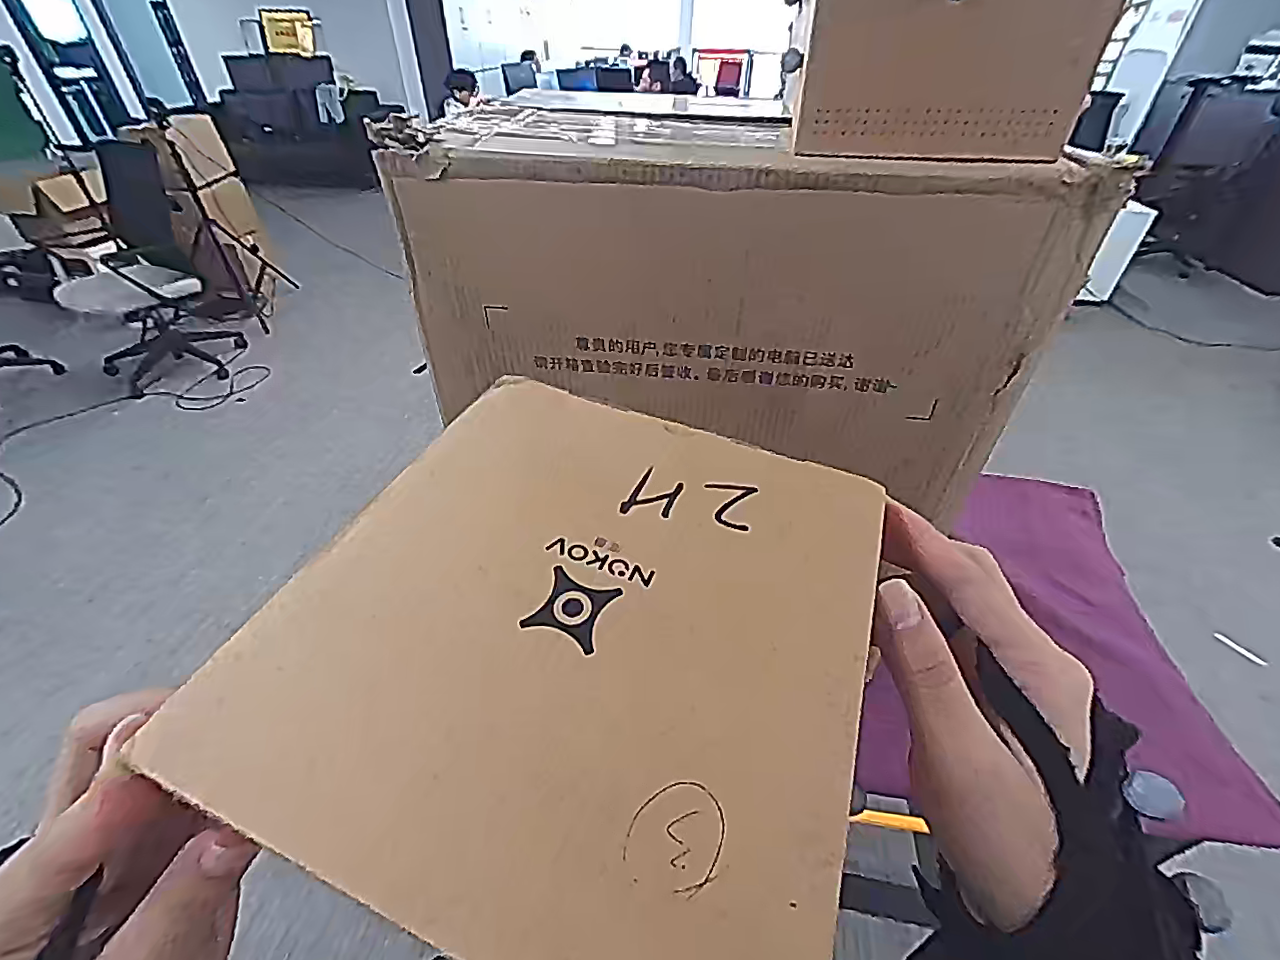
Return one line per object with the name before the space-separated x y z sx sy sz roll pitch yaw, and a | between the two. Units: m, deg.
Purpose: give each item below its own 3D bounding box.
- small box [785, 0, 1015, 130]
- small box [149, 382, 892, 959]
small box | 0.239 -0.440 0.516 0.179 0.176 0.168 5 39 6
small box | -0.017 0.093 0.224 0.168 0.176 0.179 19 48 13
